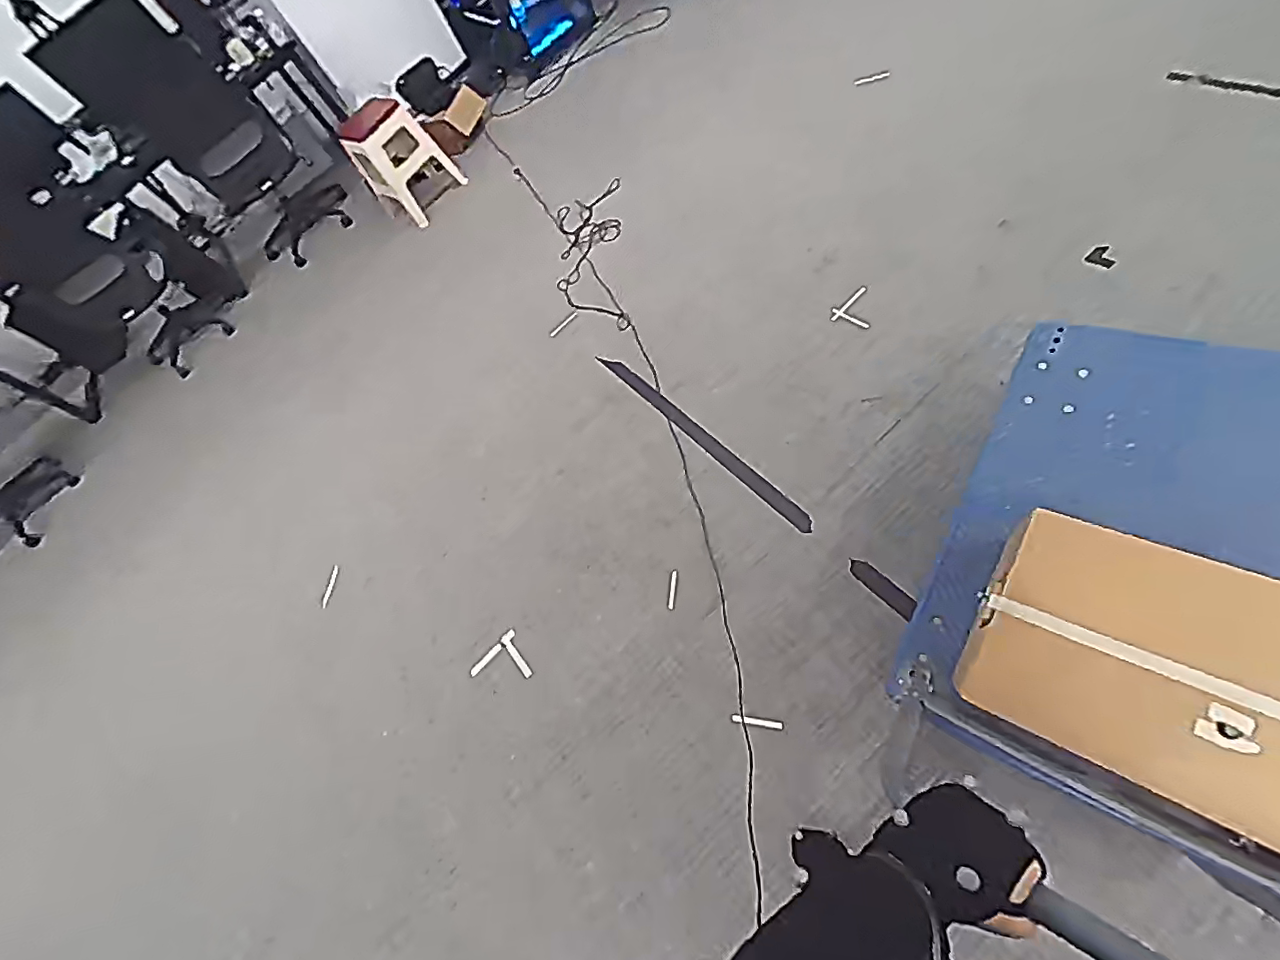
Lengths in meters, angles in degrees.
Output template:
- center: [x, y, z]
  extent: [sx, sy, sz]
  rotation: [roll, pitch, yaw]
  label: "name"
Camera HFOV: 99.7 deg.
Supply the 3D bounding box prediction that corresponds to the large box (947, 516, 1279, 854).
- center: [0.761, 0.292, 0.855]
  extent: [0.408, 0.320, 0.320]
  rotation: [23, 87, 30]
  label: "large box"
